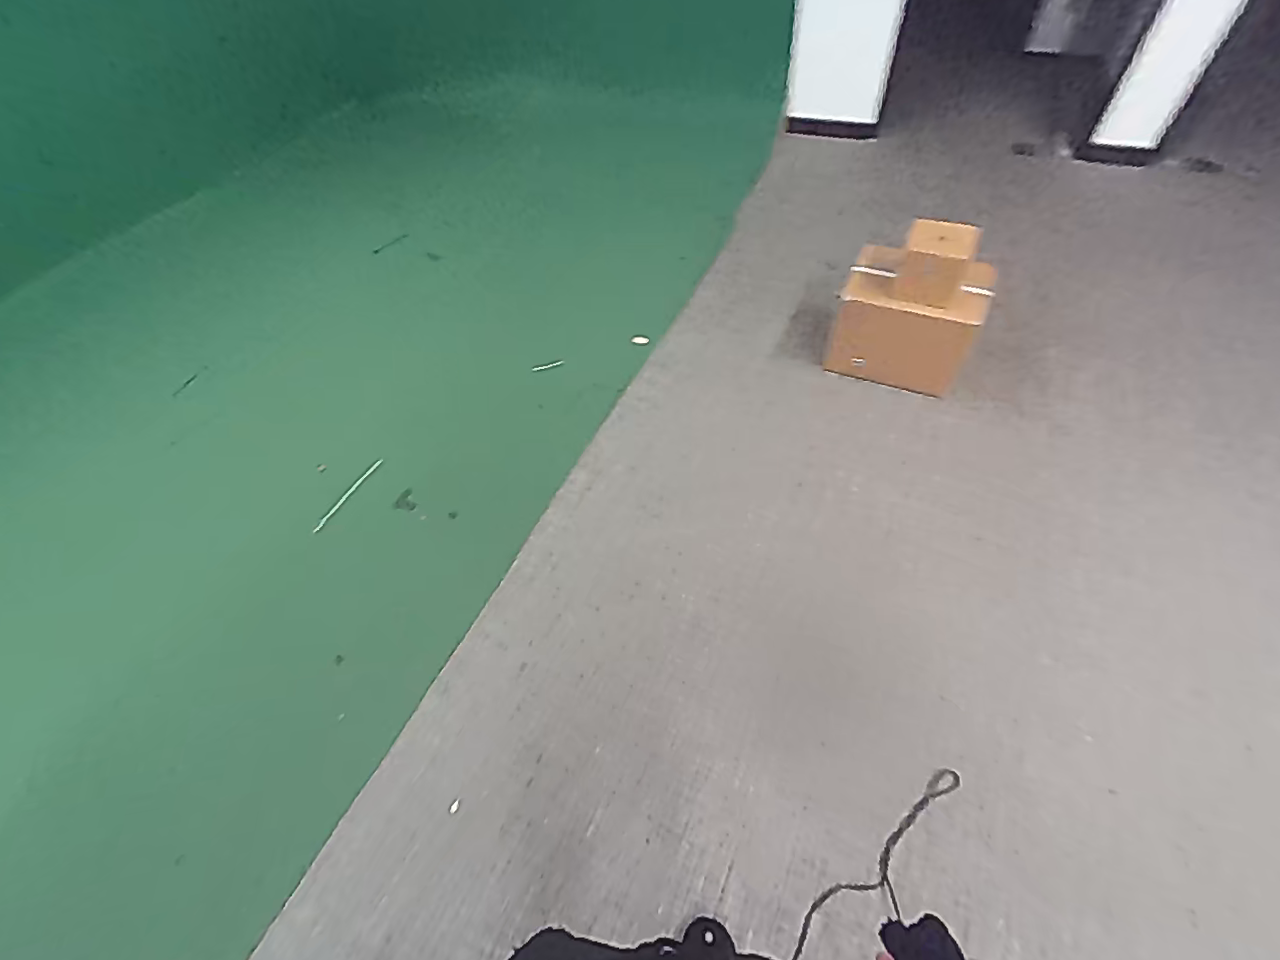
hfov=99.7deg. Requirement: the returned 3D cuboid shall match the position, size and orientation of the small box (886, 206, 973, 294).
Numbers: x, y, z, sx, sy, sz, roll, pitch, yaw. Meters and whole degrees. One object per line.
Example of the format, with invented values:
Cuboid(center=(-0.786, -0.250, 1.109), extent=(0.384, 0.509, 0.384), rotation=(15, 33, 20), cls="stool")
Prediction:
Cuboid(center=(0.847, -0.674, 1.594), extent=(0.179, 0.176, 0.168), rotation=(18, 61, 18), cls="small box")
